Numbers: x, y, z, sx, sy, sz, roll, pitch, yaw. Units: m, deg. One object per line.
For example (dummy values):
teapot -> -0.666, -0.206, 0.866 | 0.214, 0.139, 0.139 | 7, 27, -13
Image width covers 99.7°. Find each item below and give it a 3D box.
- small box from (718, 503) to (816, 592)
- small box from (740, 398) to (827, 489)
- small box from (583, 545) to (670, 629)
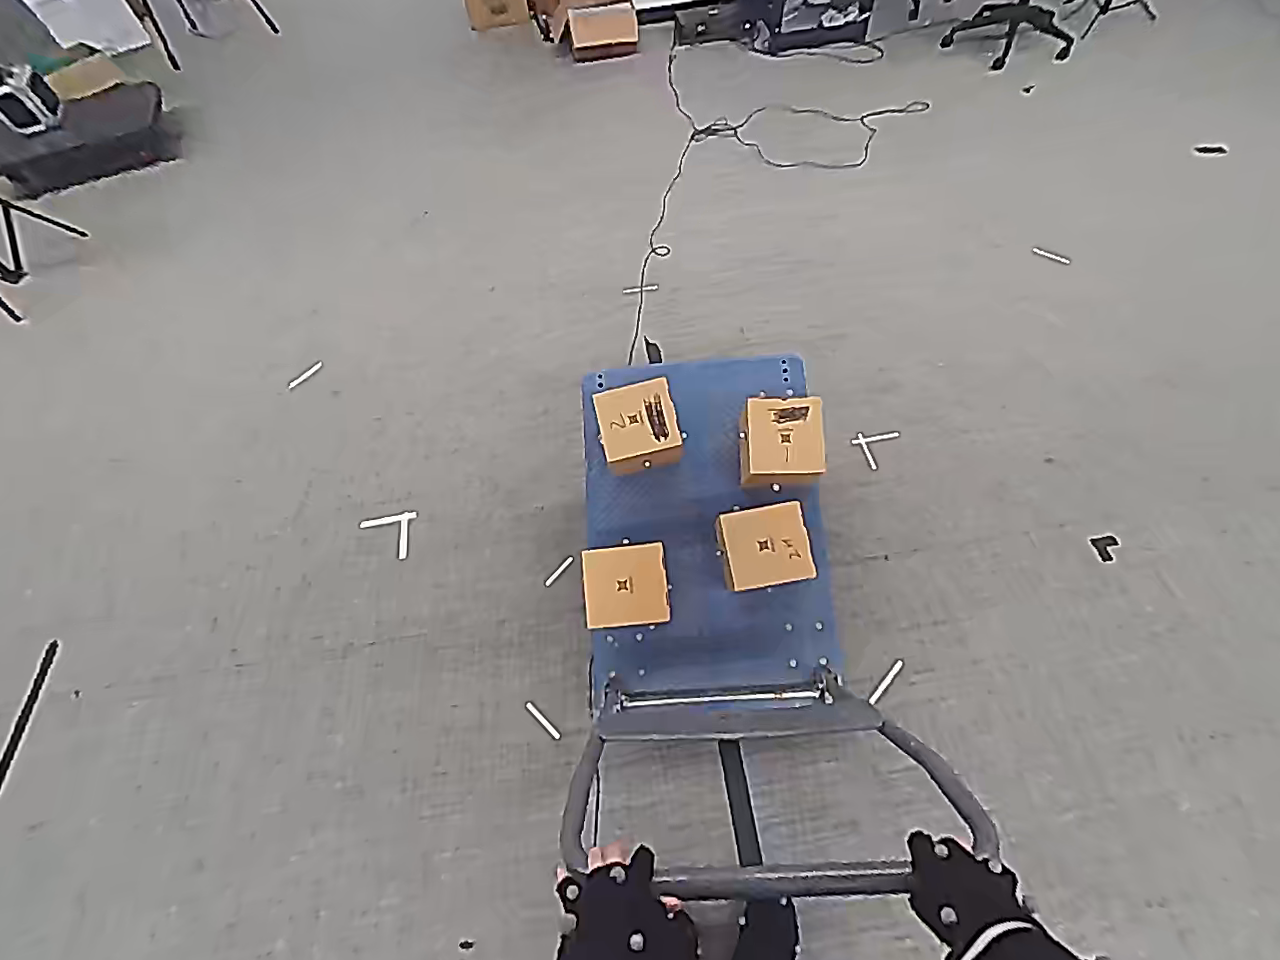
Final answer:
small box -> 0.275, 0.158, 1.216 | 0.179, 0.176, 0.168 | -11, 78, 2
small box -> 0.327, -0.080, 1.261 | 0.168, 0.176, 0.179 | -1, 79, 4
small box -> -0.025, 0.243, 1.221 | 0.179, 0.176, 0.168 | -7, 78, 1
